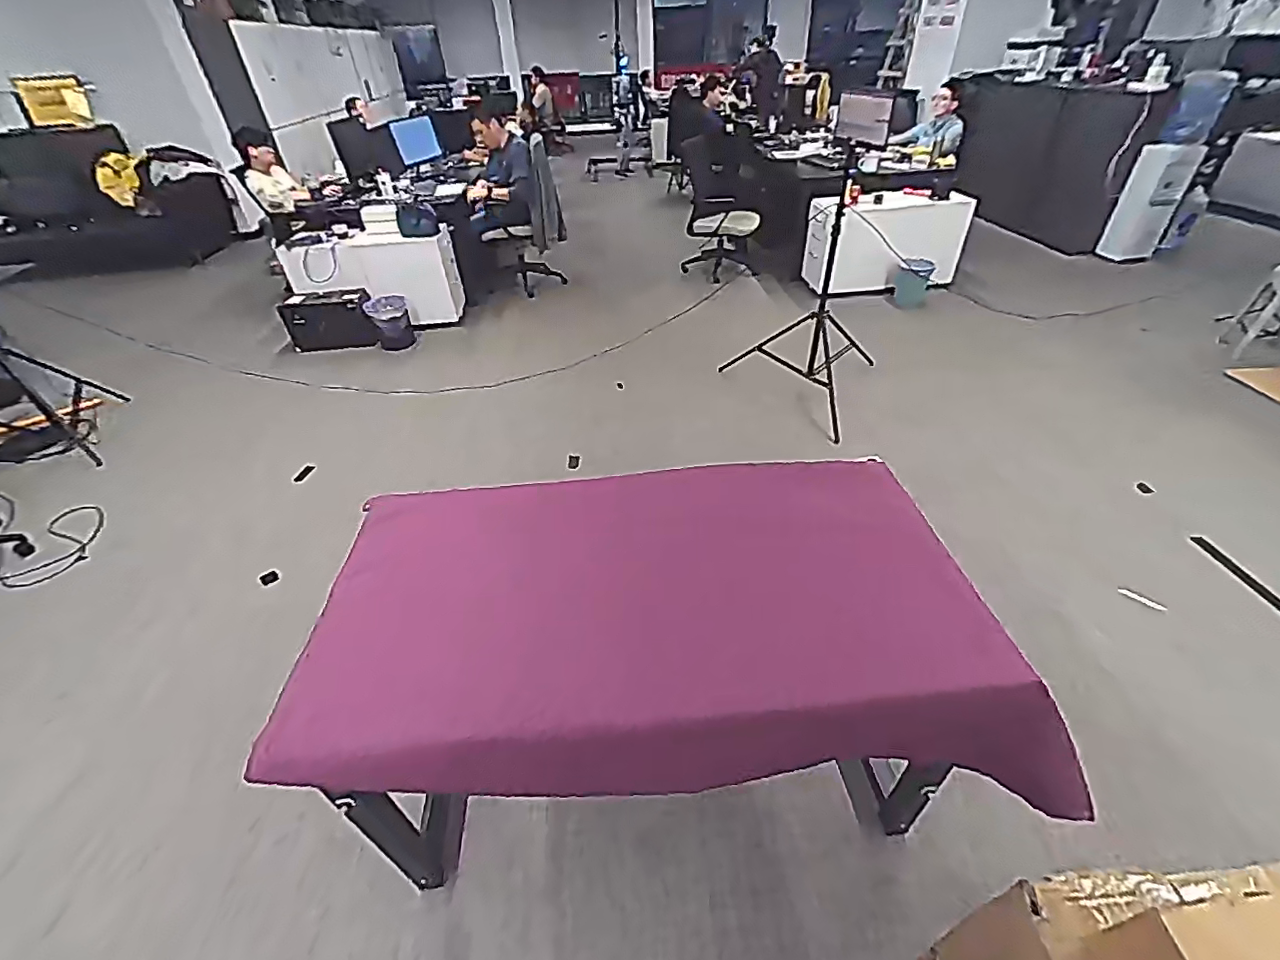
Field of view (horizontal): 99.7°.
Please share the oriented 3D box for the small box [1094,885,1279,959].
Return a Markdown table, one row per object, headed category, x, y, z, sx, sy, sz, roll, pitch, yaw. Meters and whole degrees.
| category | x | y | z | sx | sy | sz | roll | pitch | yaw |
| --- | --- | --- | --- | --- | --- | --- | --- | --- | --- |
| small box | 0.651 | 0.569 | 0.577 | 0.168 | 0.176 | 0.179 | -6 | 40 | -1 |
